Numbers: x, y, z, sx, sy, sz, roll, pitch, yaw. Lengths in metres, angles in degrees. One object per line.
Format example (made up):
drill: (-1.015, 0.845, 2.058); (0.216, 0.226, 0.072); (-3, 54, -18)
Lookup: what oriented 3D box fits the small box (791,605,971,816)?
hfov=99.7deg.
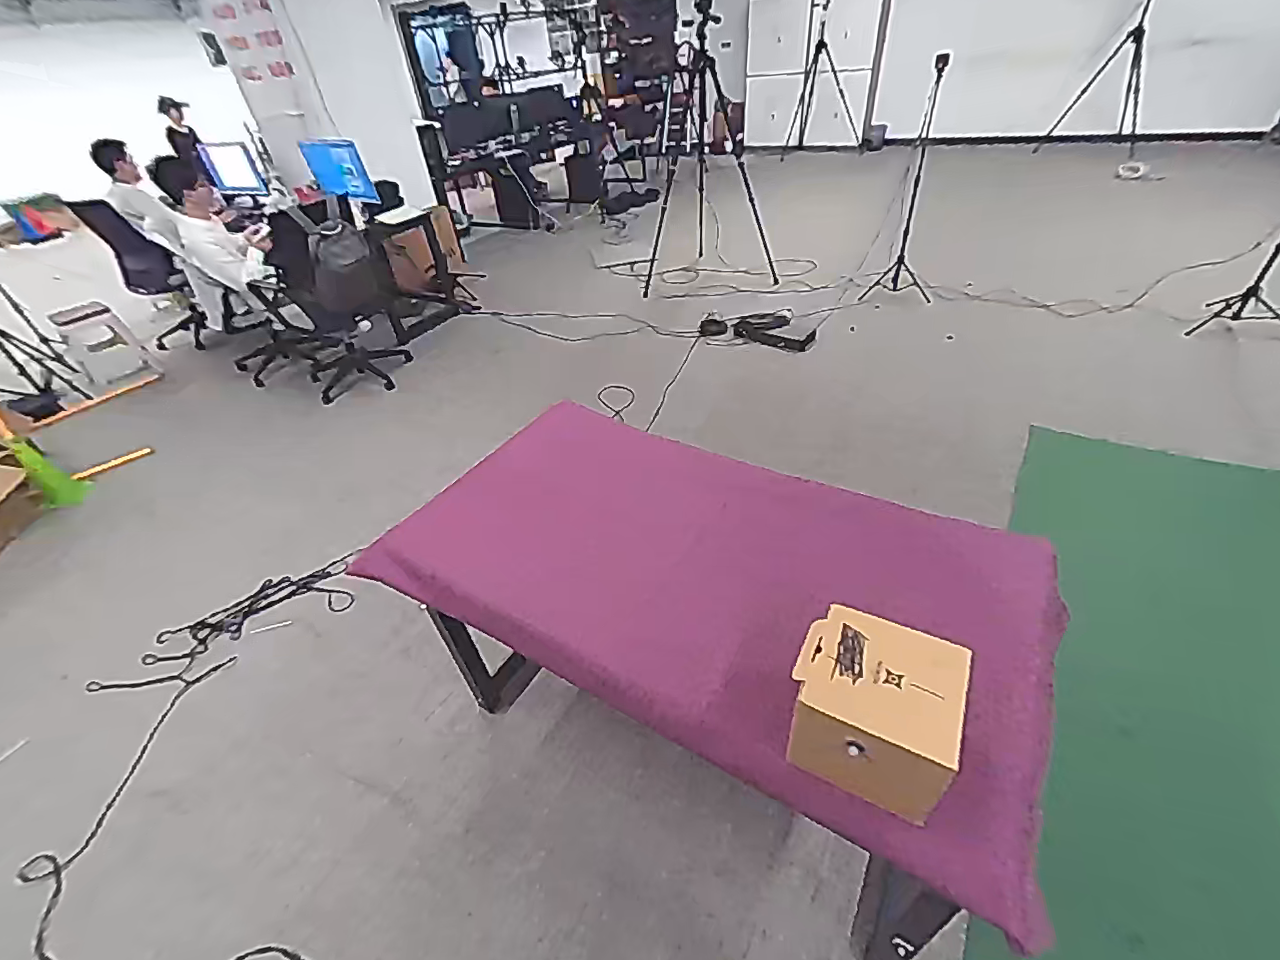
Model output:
small box: (0.312, 0.305, 0.719); (0.179, 0.176, 0.168); (17, 45, 26)
